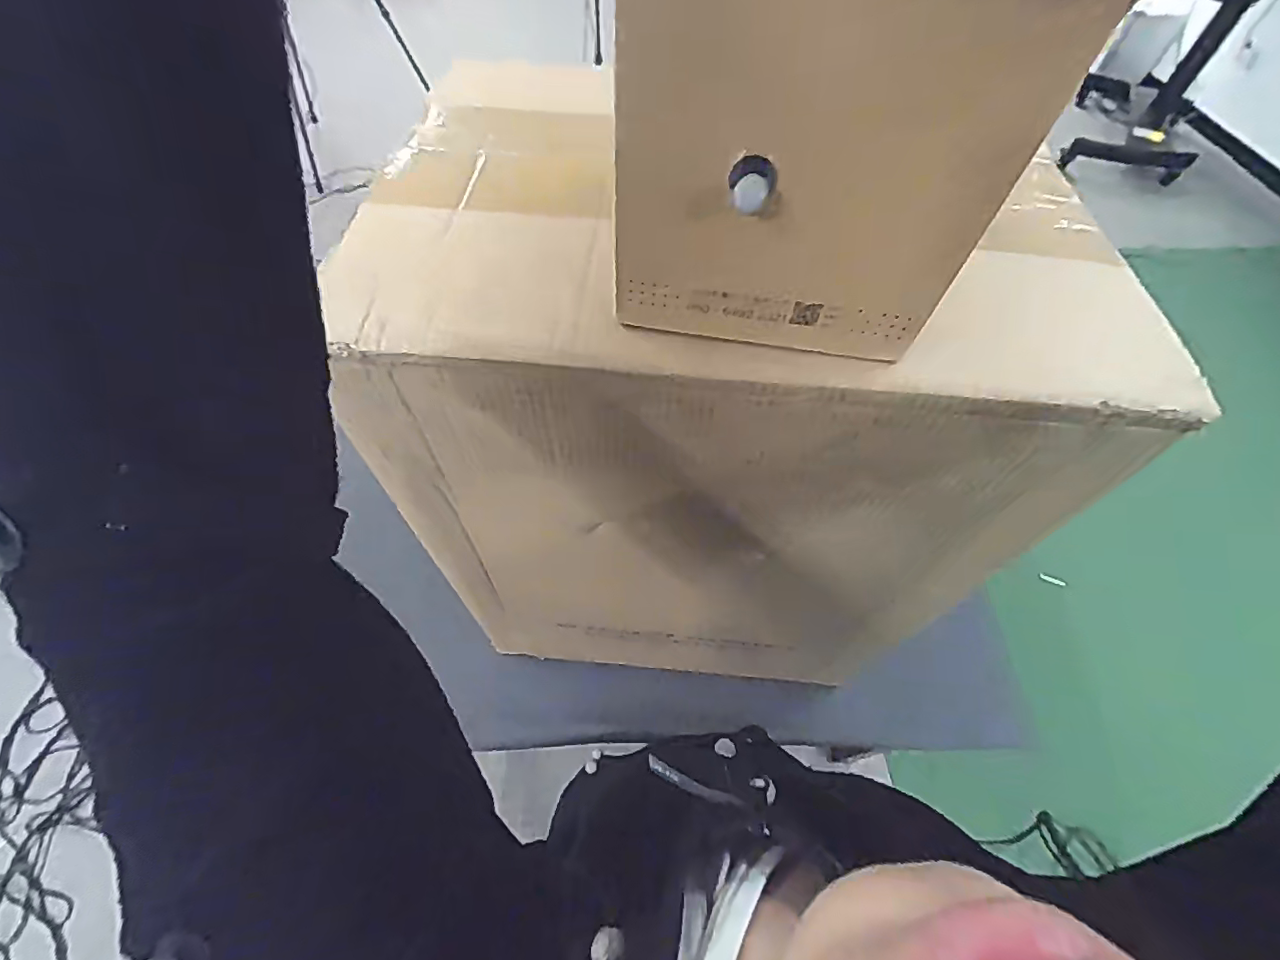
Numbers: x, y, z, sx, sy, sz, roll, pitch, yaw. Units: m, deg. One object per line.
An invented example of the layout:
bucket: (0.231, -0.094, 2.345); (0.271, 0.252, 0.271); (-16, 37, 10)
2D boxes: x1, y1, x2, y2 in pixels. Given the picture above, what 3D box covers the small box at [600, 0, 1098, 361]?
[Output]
small box: (0.078, -0.187, 0.288); (0.168, 0.176, 0.179); (9, 58, 3)
